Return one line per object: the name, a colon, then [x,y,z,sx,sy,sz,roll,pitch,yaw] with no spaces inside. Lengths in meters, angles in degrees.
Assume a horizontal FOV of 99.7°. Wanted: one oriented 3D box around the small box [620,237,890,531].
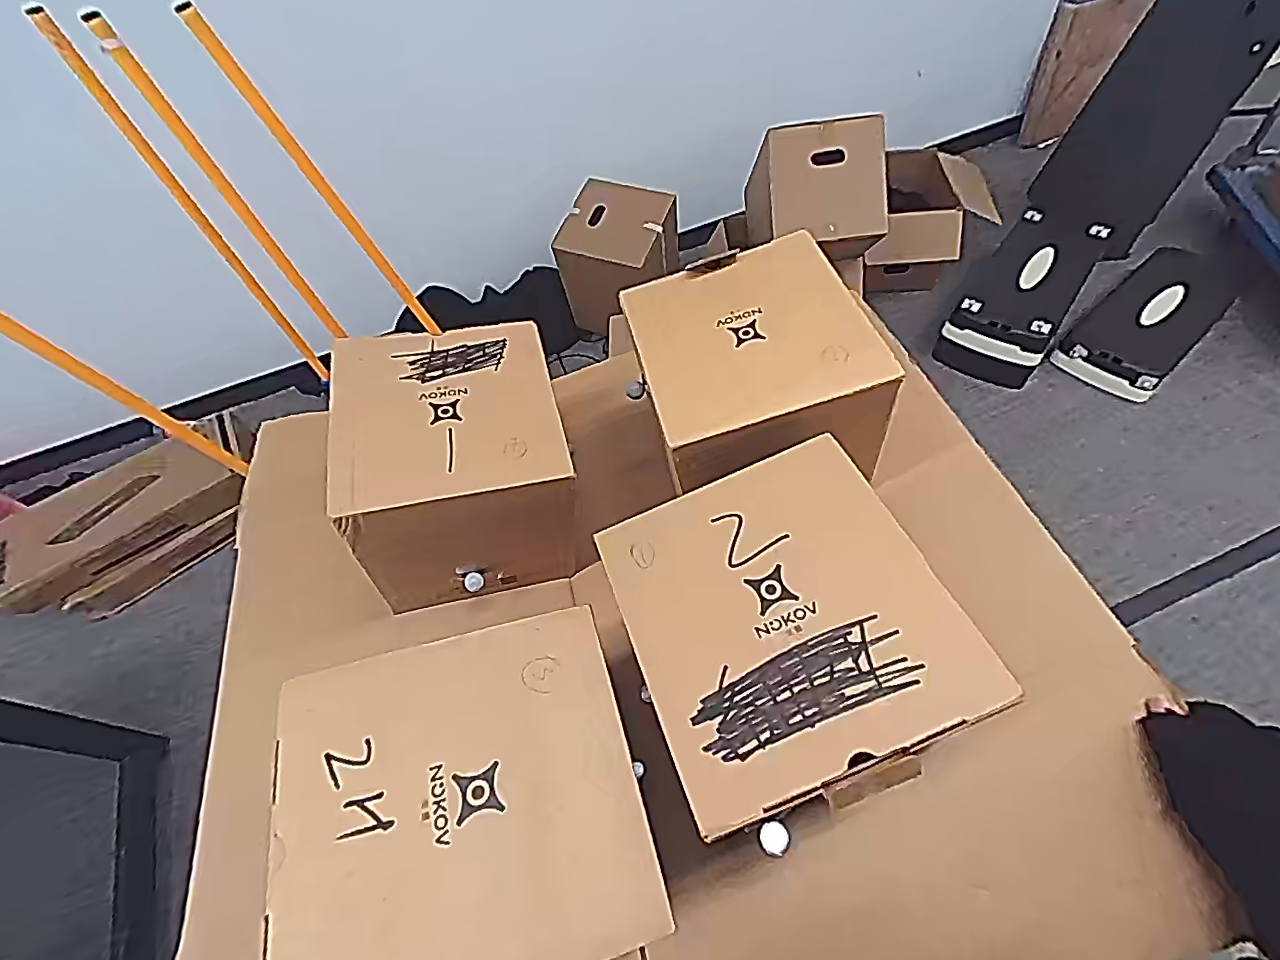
small box: [0.094,-0.072,0.481,0.168,0.176,0.179,-17,56,3]
